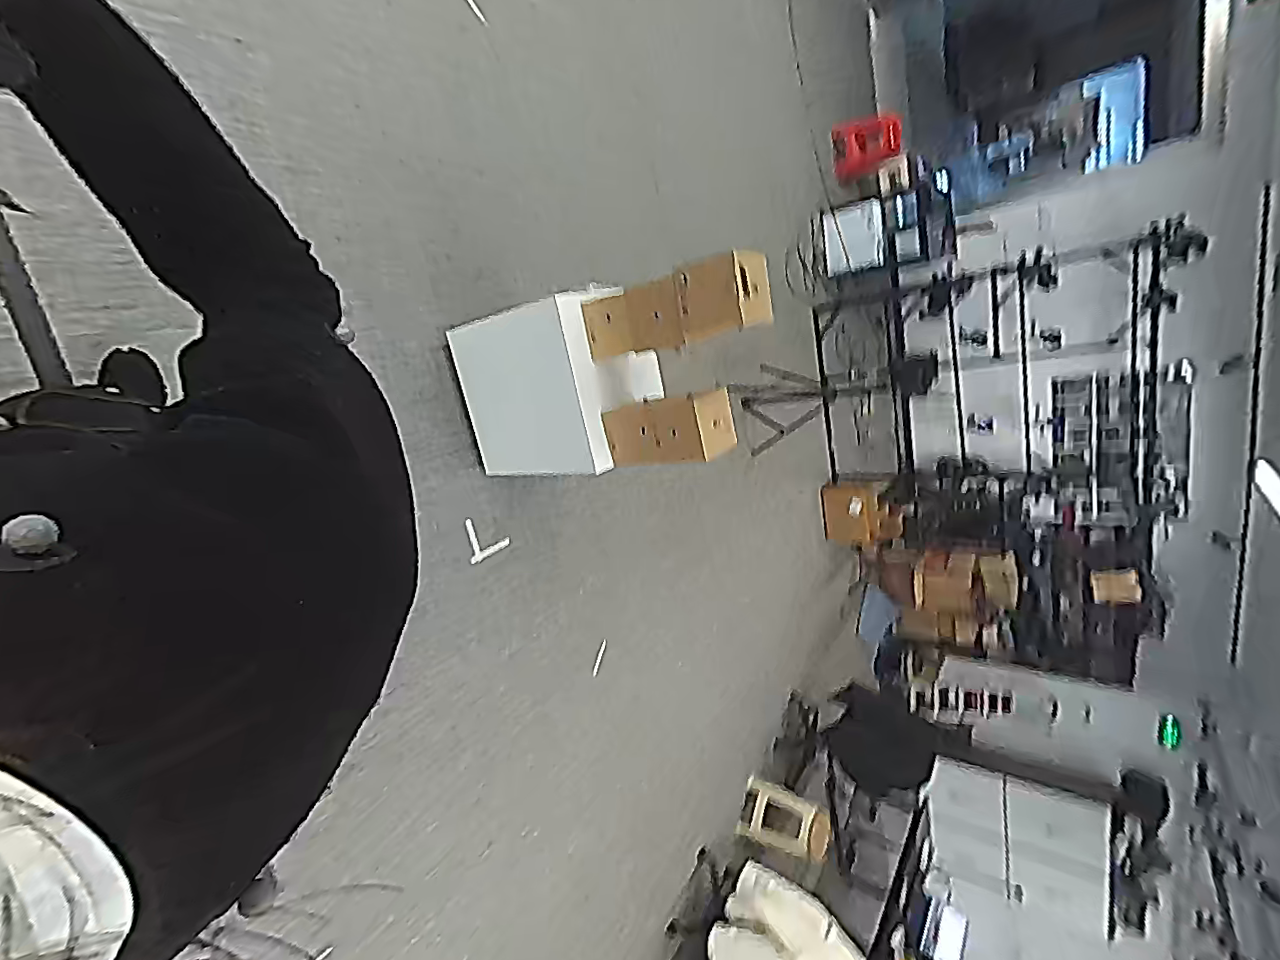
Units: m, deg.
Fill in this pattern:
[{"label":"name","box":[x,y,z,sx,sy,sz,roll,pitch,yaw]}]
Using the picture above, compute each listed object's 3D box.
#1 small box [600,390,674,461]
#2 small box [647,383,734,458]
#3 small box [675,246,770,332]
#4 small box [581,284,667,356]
[{"label":"small box","box":[0.008,-0.163,1.617,0.179,0.176,0.168,-31,112,-47]},{"label":"small box","box":[0.136,-0.165,1.512,0.179,0.176,0.168,-30,112,-47]},{"label":"small box","box":[0.199,-0.466,1.337,0.179,0.176,0.168,-23,107,-49]},{"label":"small box","box":[-0.050,-0.459,1.552,0.179,0.176,0.168,-28,111,-48]}]
